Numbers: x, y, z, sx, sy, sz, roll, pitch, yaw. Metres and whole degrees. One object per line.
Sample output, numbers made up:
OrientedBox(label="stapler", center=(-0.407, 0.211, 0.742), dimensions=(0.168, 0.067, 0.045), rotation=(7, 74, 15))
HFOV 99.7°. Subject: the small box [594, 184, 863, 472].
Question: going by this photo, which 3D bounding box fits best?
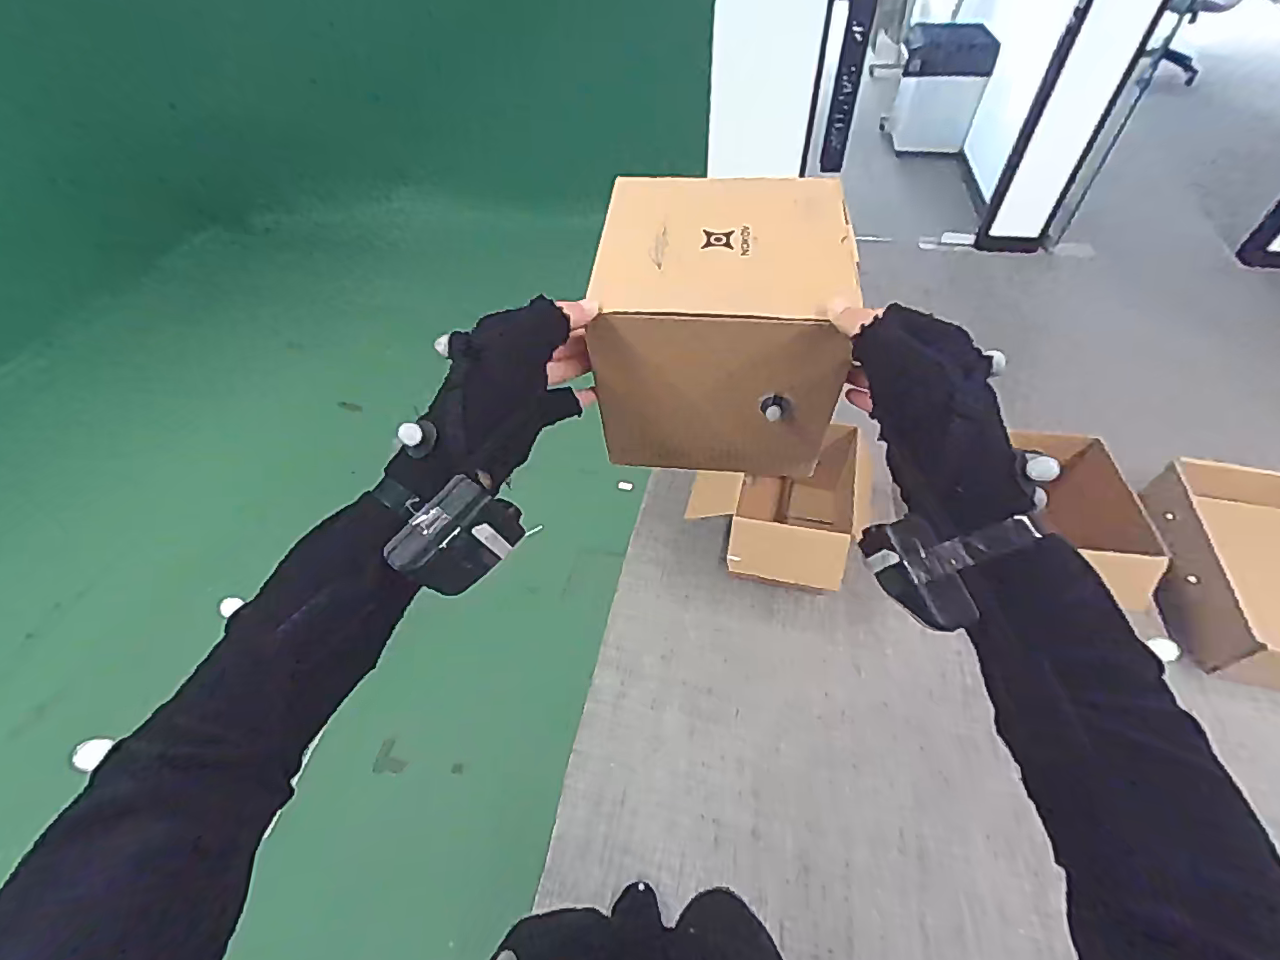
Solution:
OrientedBox(label="small box", center=(0.068, -0.121, 0.457), dimensions=(0.179, 0.176, 0.168), rotation=(4, 55, 6))
